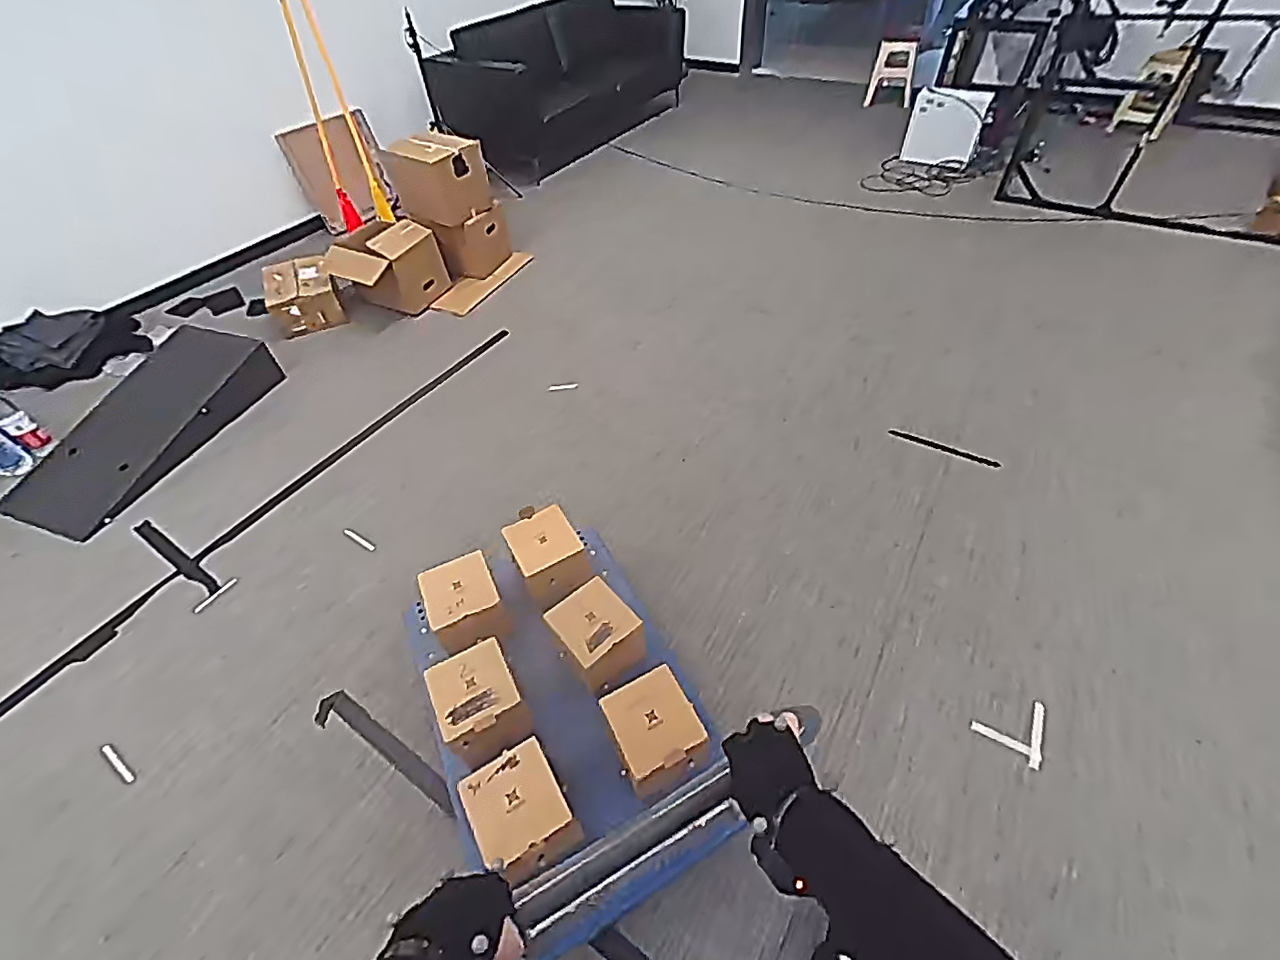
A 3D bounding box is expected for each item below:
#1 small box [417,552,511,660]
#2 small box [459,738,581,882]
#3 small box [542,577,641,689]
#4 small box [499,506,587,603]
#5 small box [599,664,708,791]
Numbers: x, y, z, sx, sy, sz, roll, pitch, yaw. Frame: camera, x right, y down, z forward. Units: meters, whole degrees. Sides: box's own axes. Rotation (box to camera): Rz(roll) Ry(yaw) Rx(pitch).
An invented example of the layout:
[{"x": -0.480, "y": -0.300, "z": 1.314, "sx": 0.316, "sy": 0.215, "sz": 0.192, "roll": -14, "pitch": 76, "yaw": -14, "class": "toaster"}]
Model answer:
[{"x": -0.442, "y": 0.322, "z": 1.370, "sx": 0.168, "sy": 0.176, "sz": 0.179, "roll": -23, "pitch": 52, "yaw": -17, "class": "small box"}, {"x": -0.229, "y": 0.653, "z": 1.064, "sx": 0.168, "sy": 0.176, "sz": 0.179, "roll": -26, "pitch": 52, "yaw": -21, "class": "small box"}, {"x": -0.109, "y": 0.377, "z": 1.307, "sx": 0.168, "sy": 0.176, "sz": 0.179, "roll": -34, "pitch": 54, "yaw": -25, "class": "small box"}, {"x": -0.258, "y": 0.210, "z": 1.464, "sx": 0.168, "sy": 0.176, "sz": 0.179, "roll": -27, "pitch": 52, "yaw": -19, "class": "small box"}, {"x": 0.029, "y": 0.537, "z": 1.160, "sx": 0.168, "sy": 0.176, "sz": 0.179, "roll": -23, "pitch": 51, "yaw": -18, "class": "small box"}]
